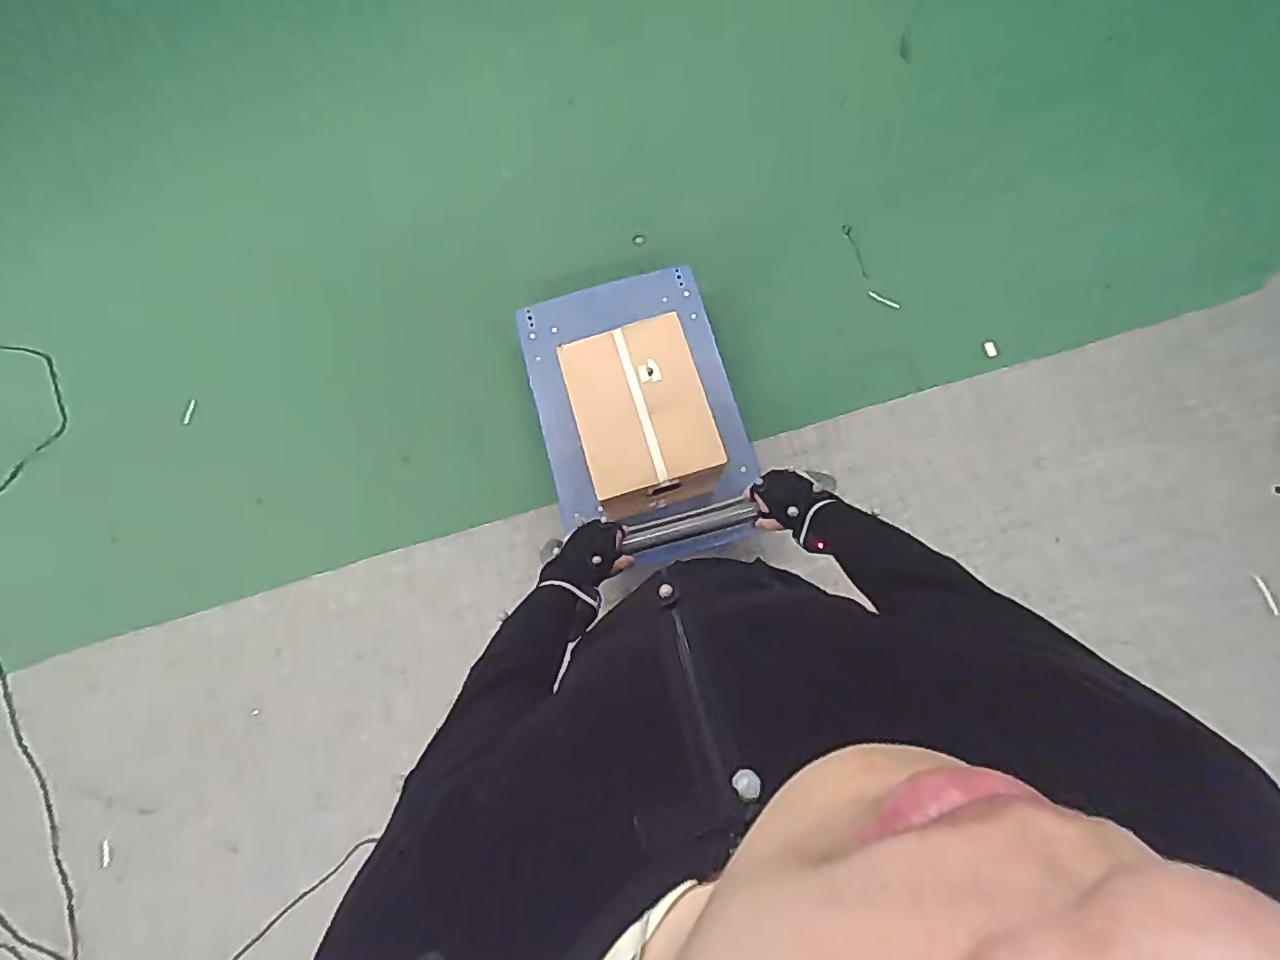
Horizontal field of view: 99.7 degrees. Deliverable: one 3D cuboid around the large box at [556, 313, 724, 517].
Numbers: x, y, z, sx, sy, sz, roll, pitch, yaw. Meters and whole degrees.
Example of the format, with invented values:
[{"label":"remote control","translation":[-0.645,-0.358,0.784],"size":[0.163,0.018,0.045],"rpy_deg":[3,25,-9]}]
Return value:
[{"label":"large box","translation":[0.005,-0.152,1.432],"size":[0.320,0.320,0.408],"rpy_deg":[-17,77,-1]}]
